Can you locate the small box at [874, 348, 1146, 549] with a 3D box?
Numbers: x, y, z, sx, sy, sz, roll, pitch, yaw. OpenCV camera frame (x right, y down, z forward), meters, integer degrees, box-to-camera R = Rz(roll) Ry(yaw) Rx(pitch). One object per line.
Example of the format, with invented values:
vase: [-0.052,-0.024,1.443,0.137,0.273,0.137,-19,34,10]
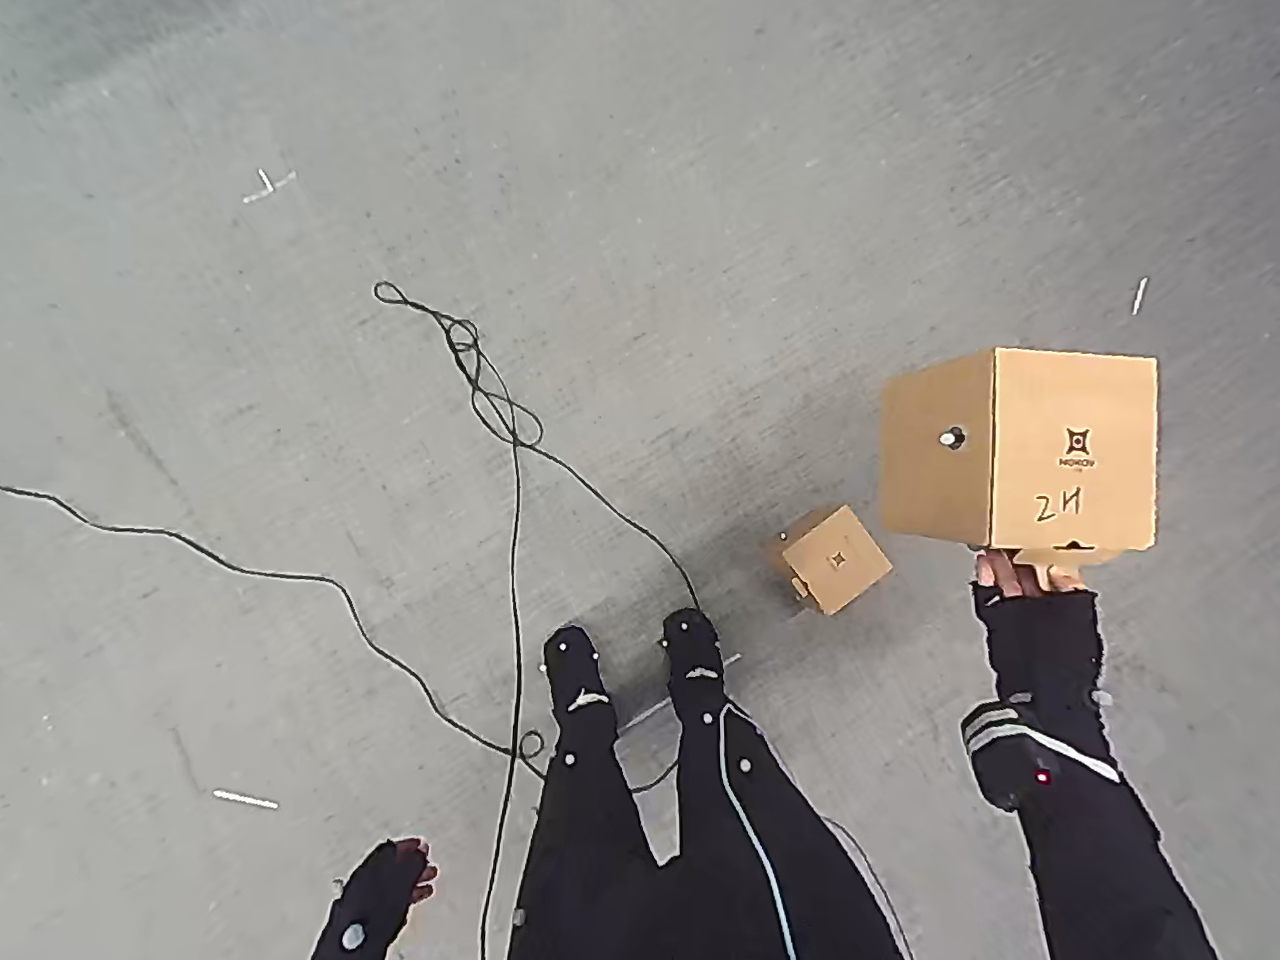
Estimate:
small box: [0.365,-0.027,0.561,0.168,0.176,0.179,2,92,-10]

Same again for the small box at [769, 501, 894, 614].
small box: [0.400,0.163,1.175,0.179,0.176,0.168,-36,88,-4]
